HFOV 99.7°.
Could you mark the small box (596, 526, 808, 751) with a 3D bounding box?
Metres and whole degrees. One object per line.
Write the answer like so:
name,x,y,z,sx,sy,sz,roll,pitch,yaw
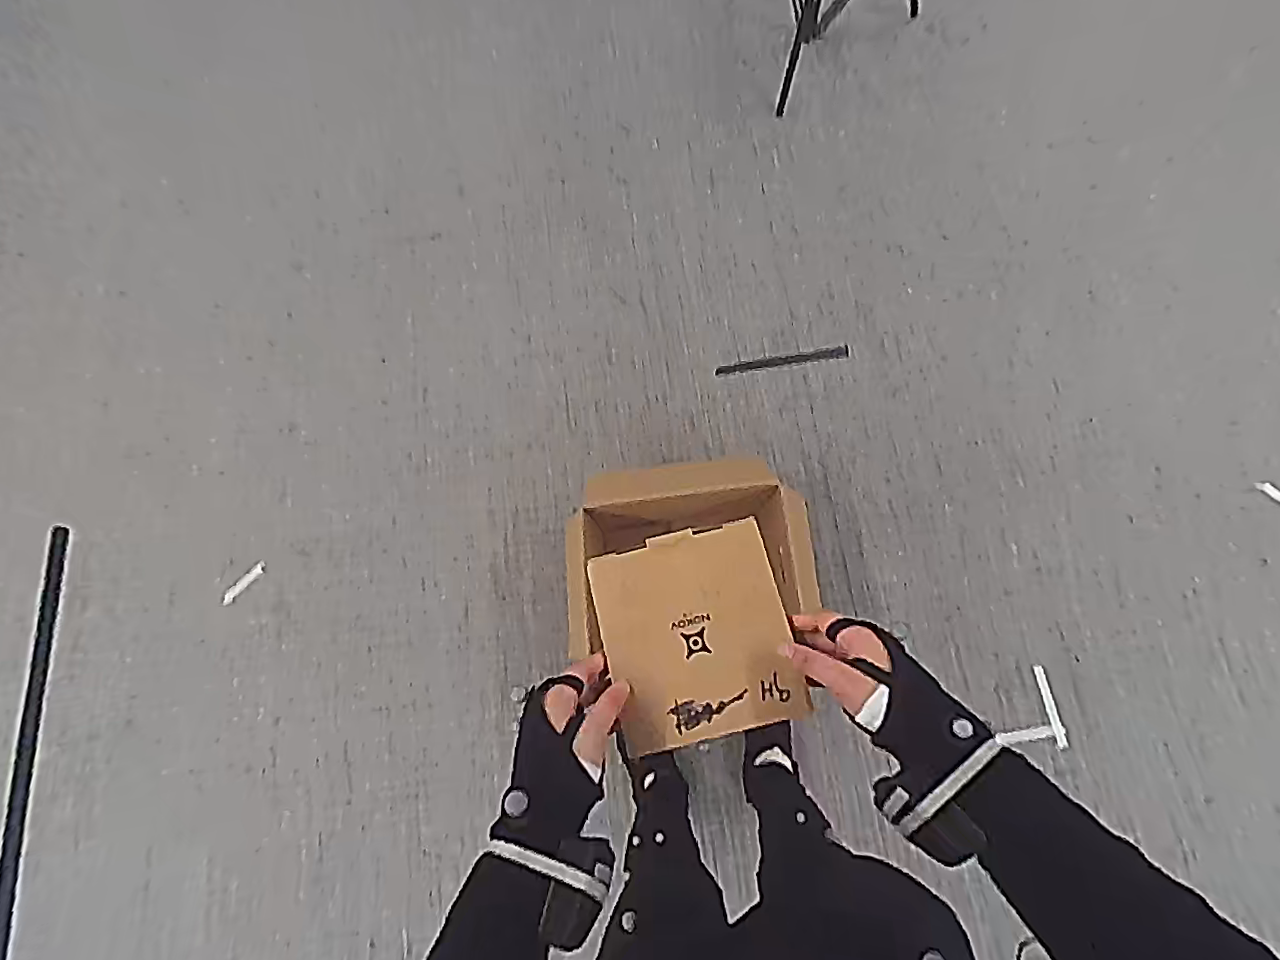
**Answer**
small box,0.060,0.163,0.578,0.168,0.176,0.179,-14,76,3
